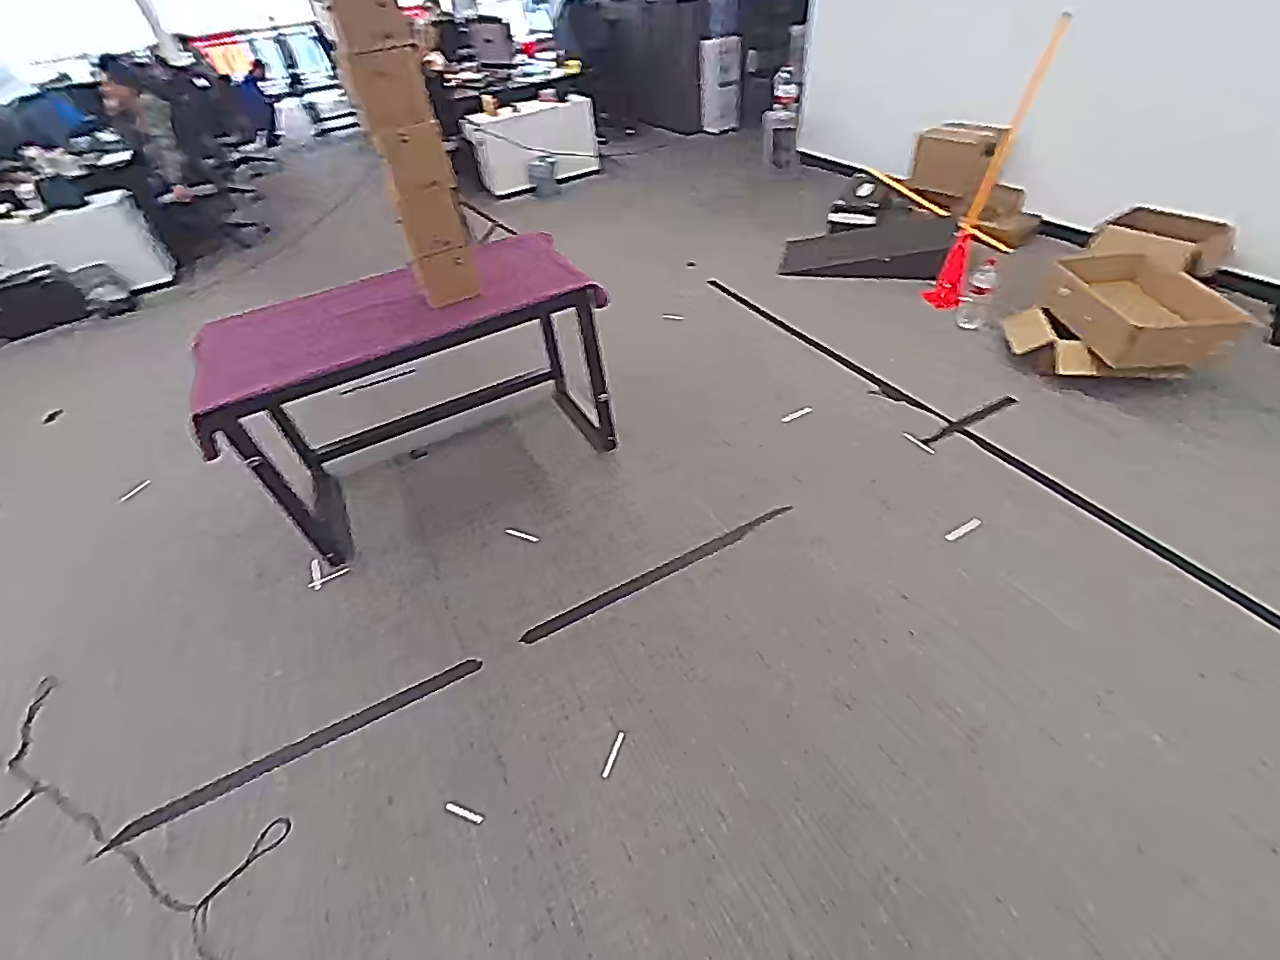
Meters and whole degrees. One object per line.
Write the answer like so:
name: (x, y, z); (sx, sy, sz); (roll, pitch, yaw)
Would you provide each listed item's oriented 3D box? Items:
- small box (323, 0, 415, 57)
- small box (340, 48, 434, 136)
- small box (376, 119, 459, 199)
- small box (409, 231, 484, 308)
small box: (-0.688, -1.180, 1.359); (0.168, 0.176, 0.179); (-26, 46, -19)
small box: (-0.679, -1.059, 1.467); (0.179, 0.176, 0.168); (-26, 47, -17)
small box: (-0.651, -0.939, 1.574); (0.168, 0.176, 0.179); (-25, 46, -17)
small box: (-0.635, -0.698, 1.796); (0.179, 0.176, 0.168); (-25, 46, -16)
